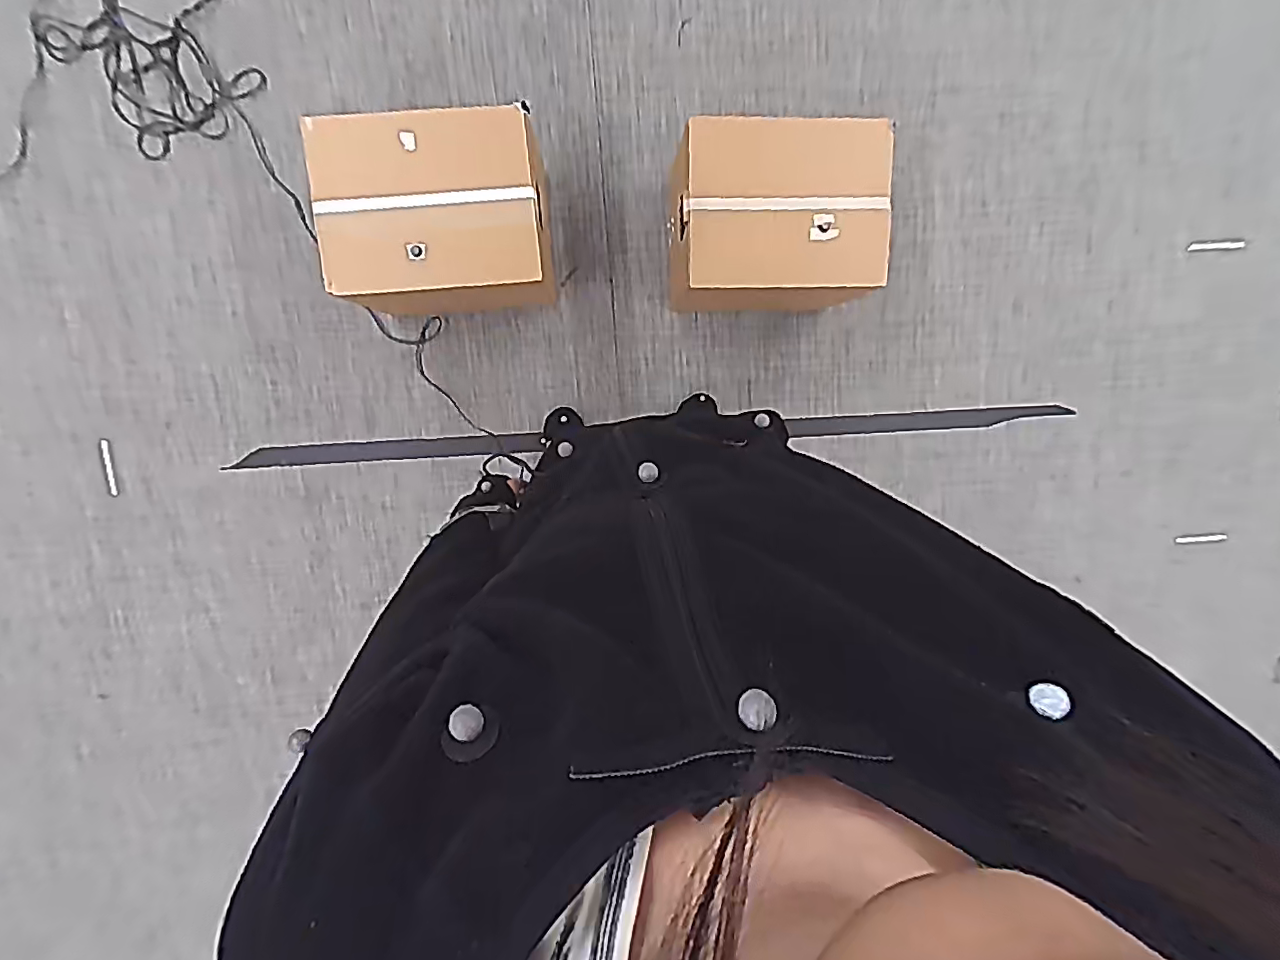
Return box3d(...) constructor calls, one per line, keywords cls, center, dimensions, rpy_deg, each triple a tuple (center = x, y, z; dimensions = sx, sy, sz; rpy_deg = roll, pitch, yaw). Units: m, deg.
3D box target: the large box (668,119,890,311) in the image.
box3d(cls="large box", center=(0.283, -0.564, 1.210), dimensions=(0.408, 0.320, 0.320), rpy_deg=(-2, 100, -4))
